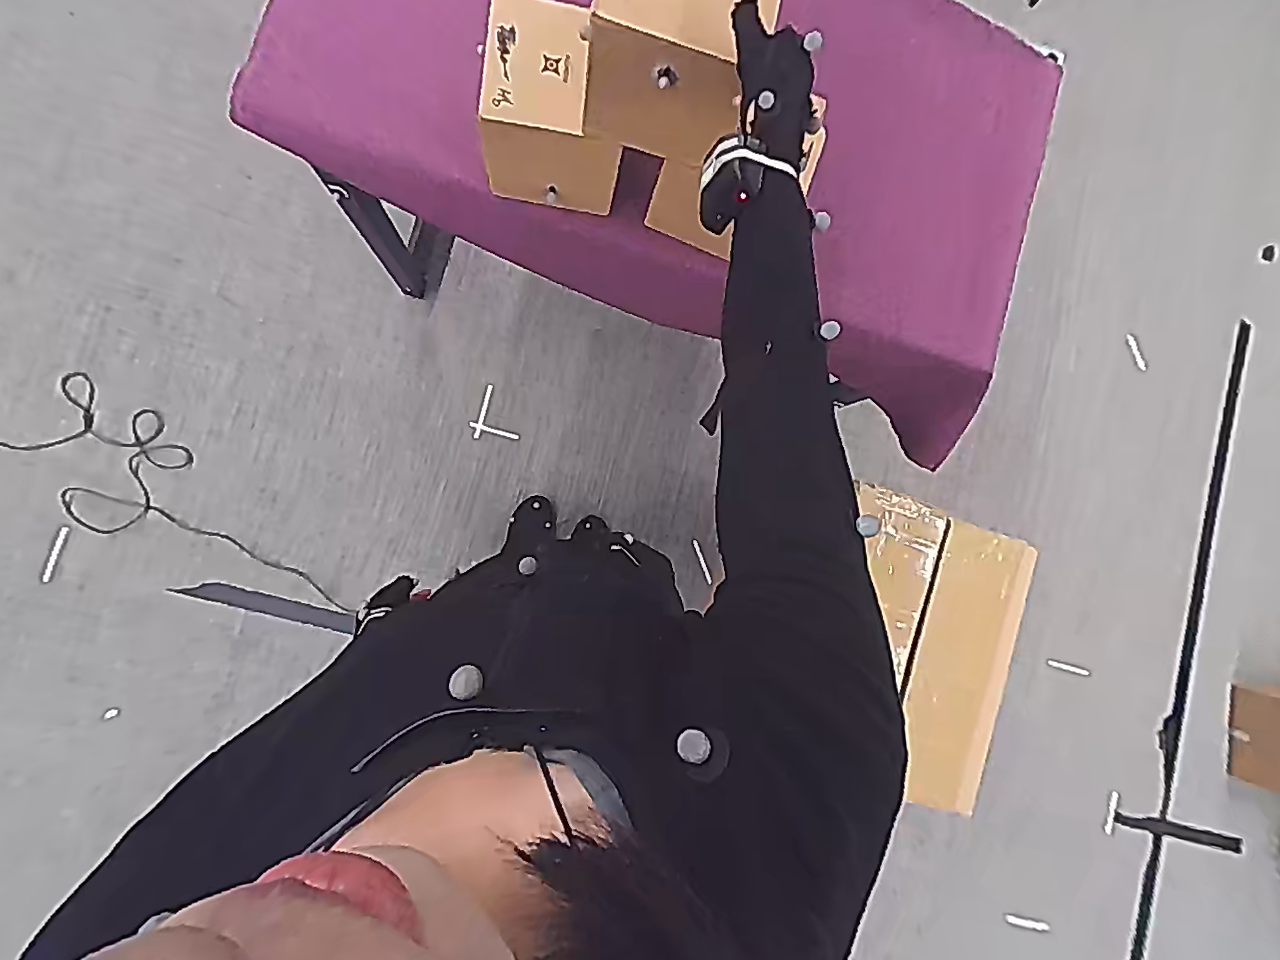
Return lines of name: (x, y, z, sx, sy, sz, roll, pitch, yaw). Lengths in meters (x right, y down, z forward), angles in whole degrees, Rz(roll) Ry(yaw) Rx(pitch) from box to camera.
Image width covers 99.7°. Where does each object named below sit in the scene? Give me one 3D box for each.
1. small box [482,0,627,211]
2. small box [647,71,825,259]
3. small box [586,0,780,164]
small box: (-0.110, -0.496, 0.737, 0.179, 0.176, 0.168, 6, 86, -10)
small box: (0.126, -0.445, 0.772, 0.179, 0.176, 0.168, 20, 84, -7)
small box: (0.042, -0.489, 0.596, 0.179, 0.176, 0.168, 12, 86, -9)
